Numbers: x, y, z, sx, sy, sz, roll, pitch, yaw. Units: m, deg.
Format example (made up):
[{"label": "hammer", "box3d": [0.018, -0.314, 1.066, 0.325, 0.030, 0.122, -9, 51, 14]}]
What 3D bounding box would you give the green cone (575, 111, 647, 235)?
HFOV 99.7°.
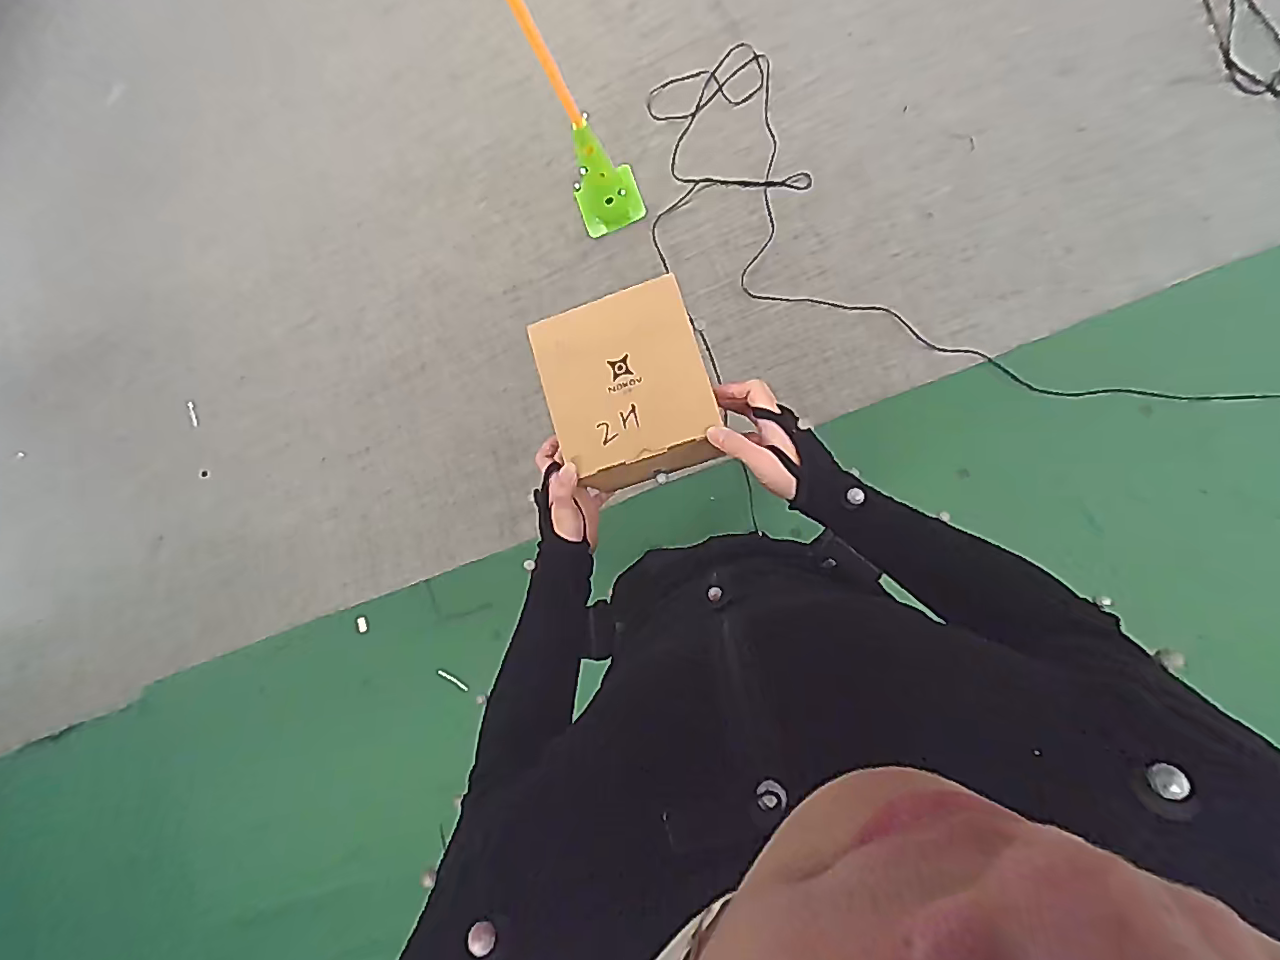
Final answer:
[{"label": "green cone", "box3d": [-0.122, -0.921, 1.577, 0.202, 0.368, 0.200, -20, 83, 7]}]
